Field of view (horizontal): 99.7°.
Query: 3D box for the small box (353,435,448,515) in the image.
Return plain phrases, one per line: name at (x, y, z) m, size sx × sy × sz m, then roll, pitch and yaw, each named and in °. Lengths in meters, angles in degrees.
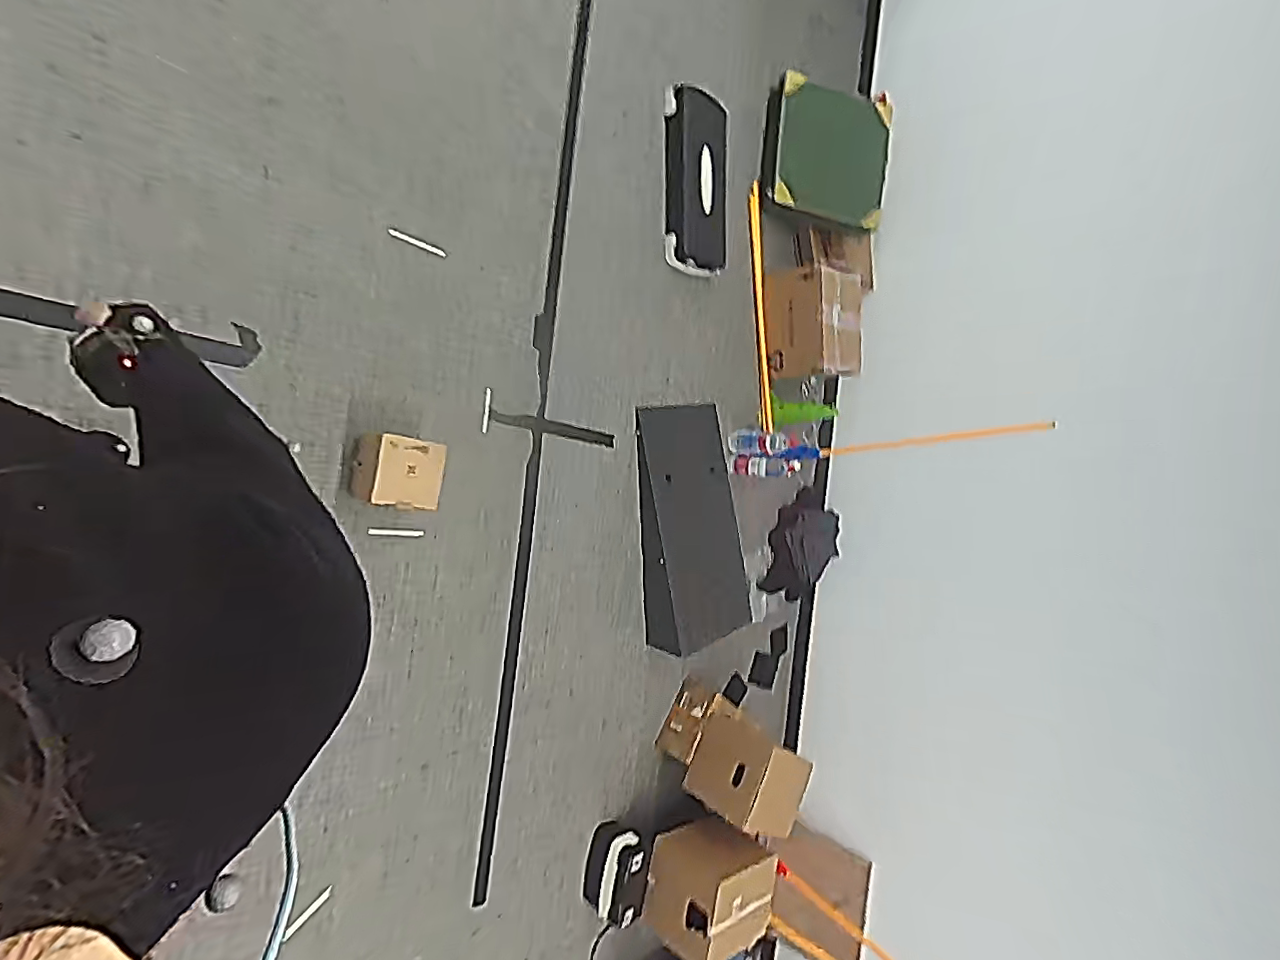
small box at (-0.630, -0.014, 1.411) m, size 0.168 × 0.176 × 0.179 m, roll 13°, pitch 86°, yaw -45°
